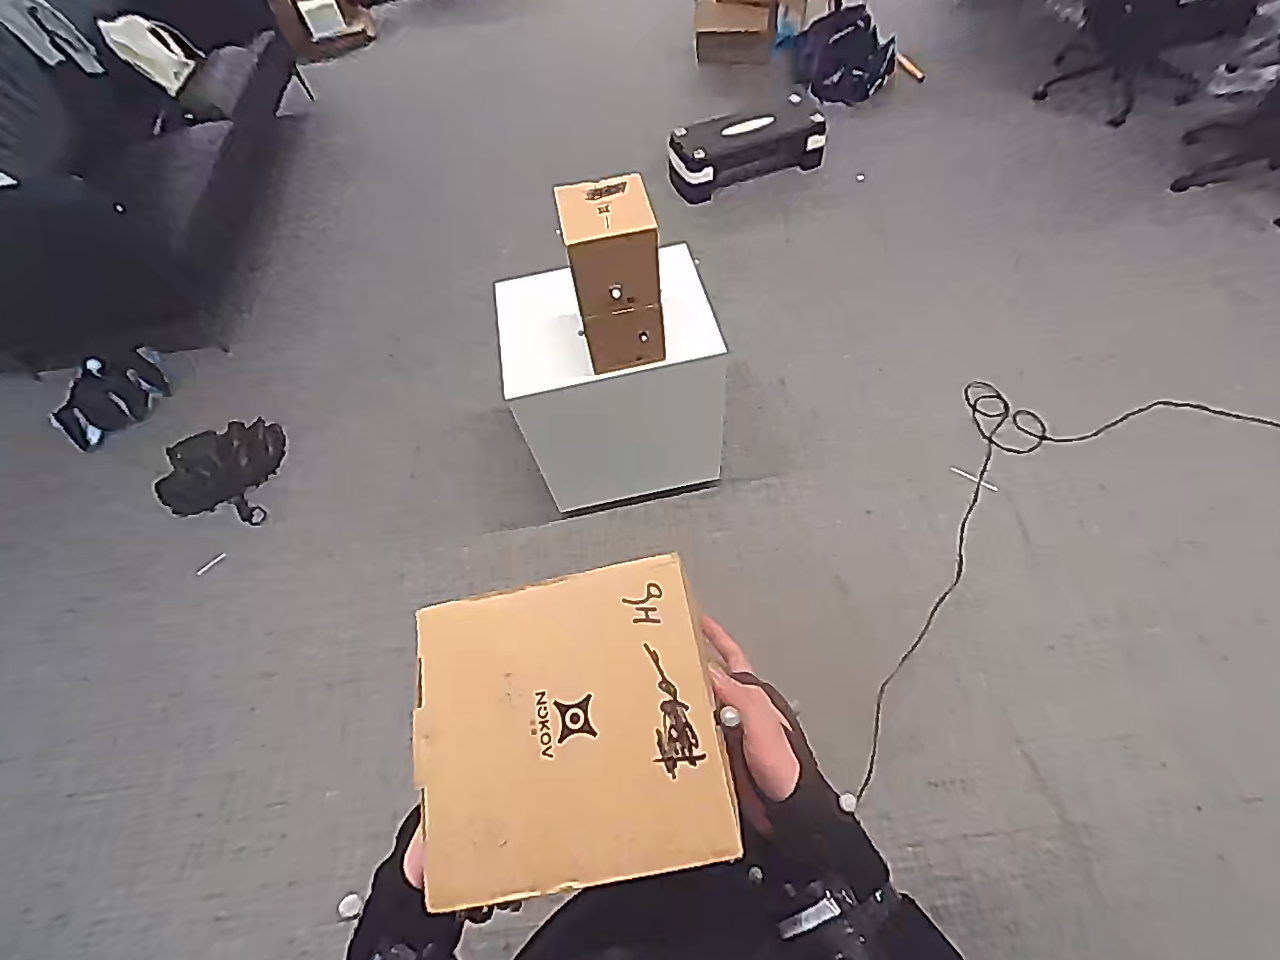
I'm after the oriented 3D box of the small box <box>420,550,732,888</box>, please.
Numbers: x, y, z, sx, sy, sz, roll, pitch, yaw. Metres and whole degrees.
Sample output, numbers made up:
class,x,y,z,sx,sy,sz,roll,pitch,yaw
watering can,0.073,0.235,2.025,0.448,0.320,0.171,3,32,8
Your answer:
class,x,y,z,sx,sy,sz,roll,pitch,yaw
small box,-0.036,0.164,0.393,0.179,0.176,0.168,-12,68,5

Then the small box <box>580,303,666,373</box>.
class,x,y,z,sx,sy,sz,roll,pitch,yaw
small box,-0.039,-0.355,1.190,0.168,0.176,0.179,-12,57,-2

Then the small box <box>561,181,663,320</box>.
class,x,y,z,sx,sy,sz,roll,pitch,yaw
small box,-0.052,-0.442,1.051,0.168,0.176,0.179,-11,59,-2
